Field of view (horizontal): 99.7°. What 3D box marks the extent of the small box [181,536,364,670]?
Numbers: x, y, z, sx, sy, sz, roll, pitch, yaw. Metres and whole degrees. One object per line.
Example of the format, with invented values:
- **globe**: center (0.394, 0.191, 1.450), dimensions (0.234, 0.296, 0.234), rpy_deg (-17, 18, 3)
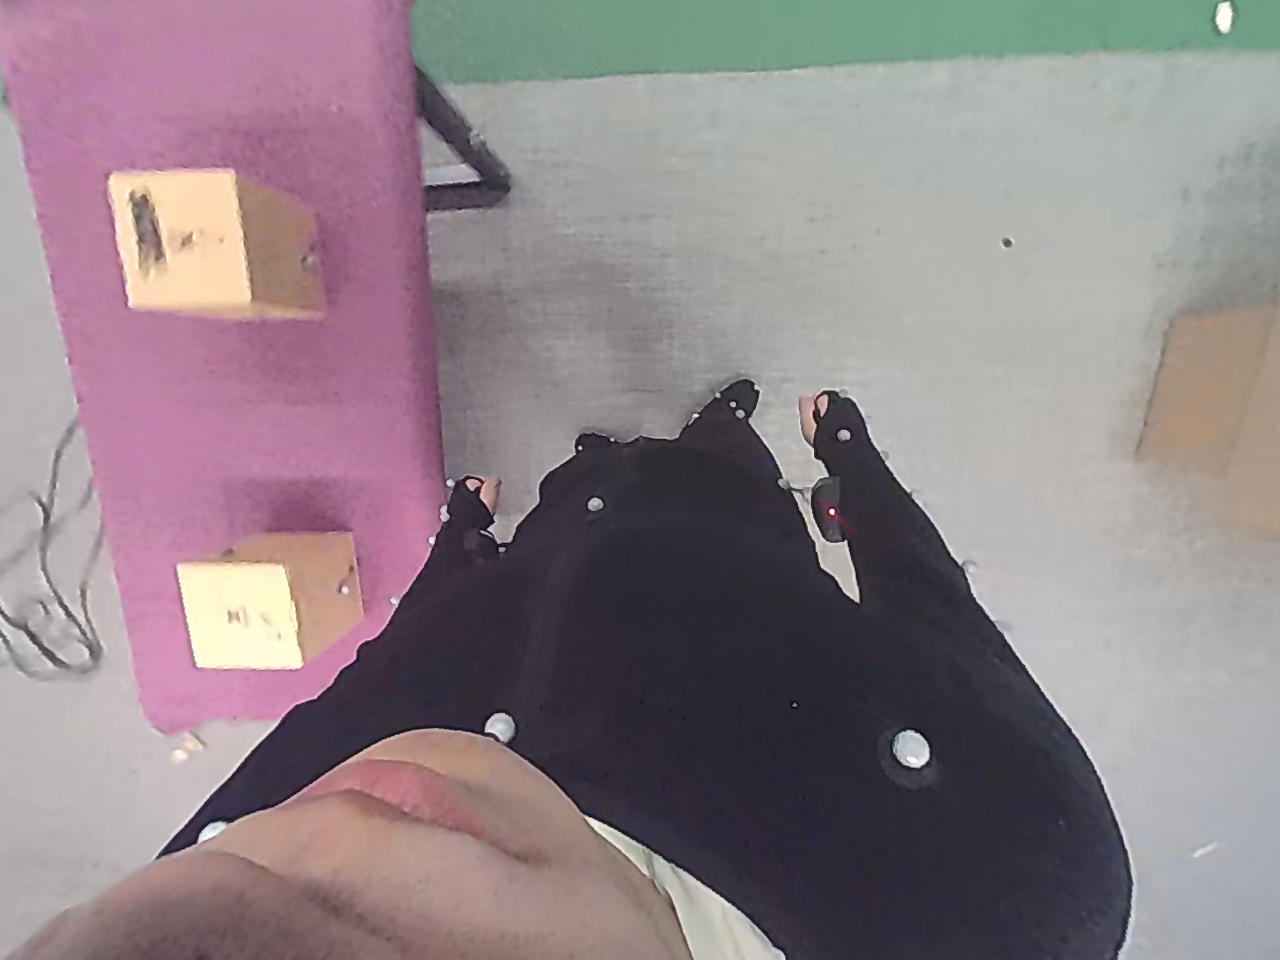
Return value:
- **small box**: center (-0.592, 0.194, 0.891), dimensions (0.179, 0.176, 0.168), rpy_deg (-1, 100, 5)
